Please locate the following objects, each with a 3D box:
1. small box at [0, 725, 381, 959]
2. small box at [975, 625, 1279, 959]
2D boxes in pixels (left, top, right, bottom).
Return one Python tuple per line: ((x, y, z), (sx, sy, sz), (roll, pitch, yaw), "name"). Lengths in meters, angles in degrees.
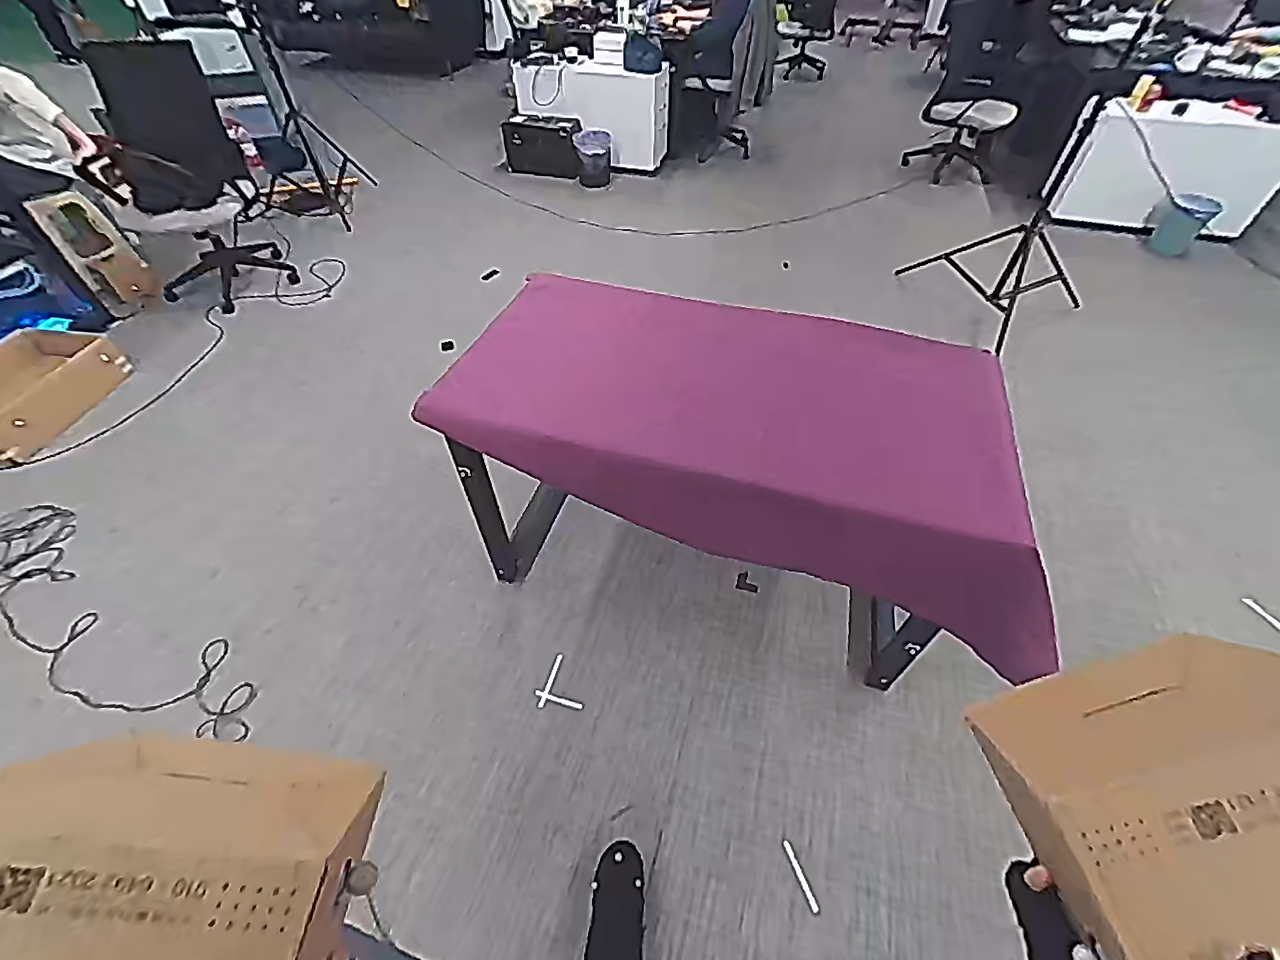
((-0.246, 0.225, 0.262), (0.168, 0.179, 0.176), (16, 70, -12), "small box")
((0.326, 0.195, 0.304), (0.168, 0.179, 0.176), (-25, 76, 14), "small box")
